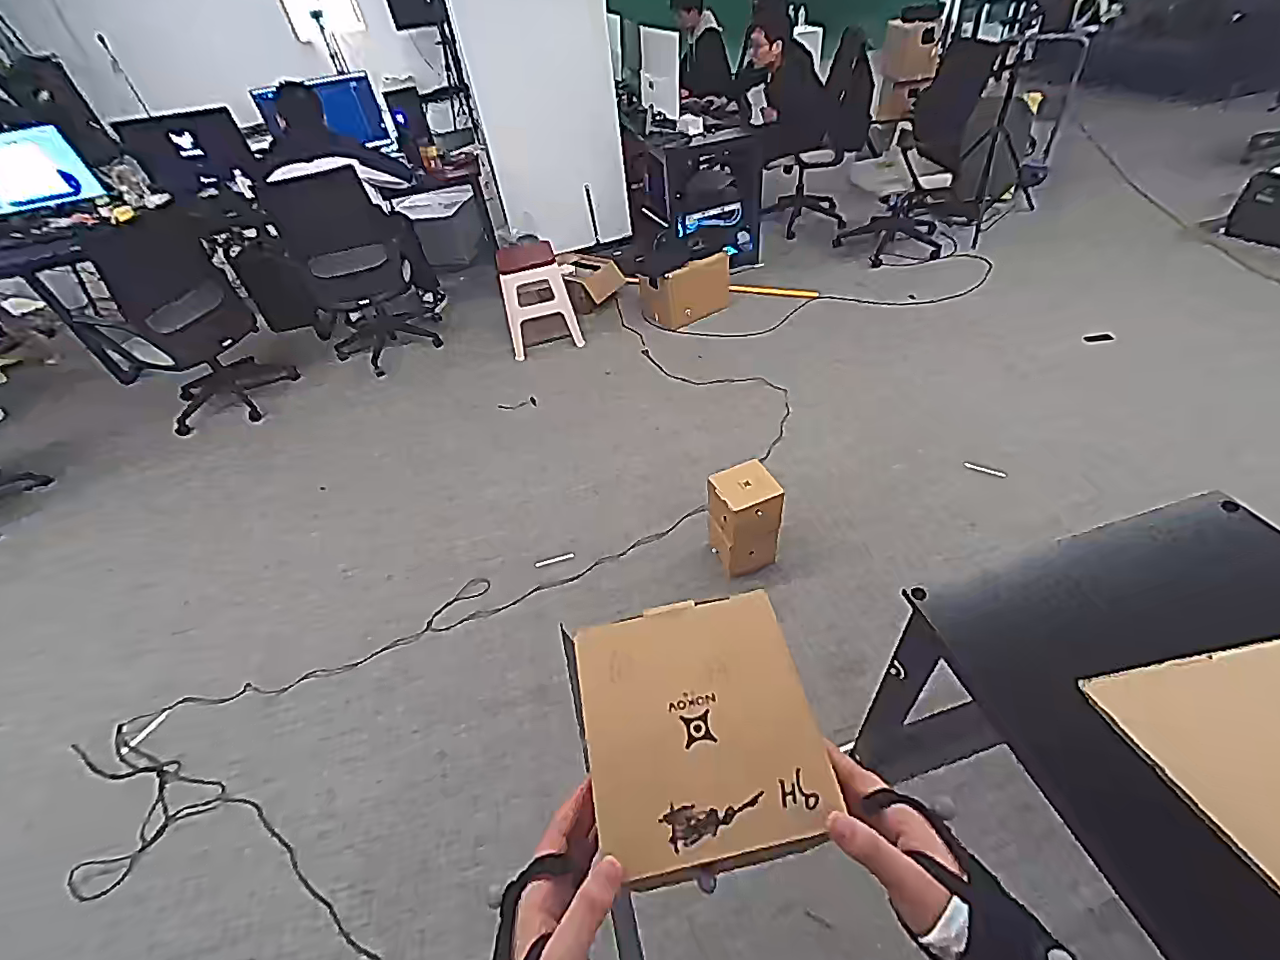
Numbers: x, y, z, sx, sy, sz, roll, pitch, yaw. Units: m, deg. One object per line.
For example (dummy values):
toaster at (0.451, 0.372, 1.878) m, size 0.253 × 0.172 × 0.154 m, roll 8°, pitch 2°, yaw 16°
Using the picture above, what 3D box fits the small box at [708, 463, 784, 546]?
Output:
small box at (0.329, 0.080, 1.691) m, size 0.179 × 0.176 × 0.168 m, roll -19°, pitch 46°, yaw -12°

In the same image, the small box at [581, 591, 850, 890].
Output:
small box at (0.051, 0.224, 0.463) m, size 0.168 × 0.176 × 0.179 m, roll -12°, pitch 51°, yaw -2°

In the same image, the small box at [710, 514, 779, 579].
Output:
small box at (0.342, 0.199, 1.801) m, size 0.179 × 0.176 × 0.168 m, roll -18°, pitch 44°, yaw -9°
